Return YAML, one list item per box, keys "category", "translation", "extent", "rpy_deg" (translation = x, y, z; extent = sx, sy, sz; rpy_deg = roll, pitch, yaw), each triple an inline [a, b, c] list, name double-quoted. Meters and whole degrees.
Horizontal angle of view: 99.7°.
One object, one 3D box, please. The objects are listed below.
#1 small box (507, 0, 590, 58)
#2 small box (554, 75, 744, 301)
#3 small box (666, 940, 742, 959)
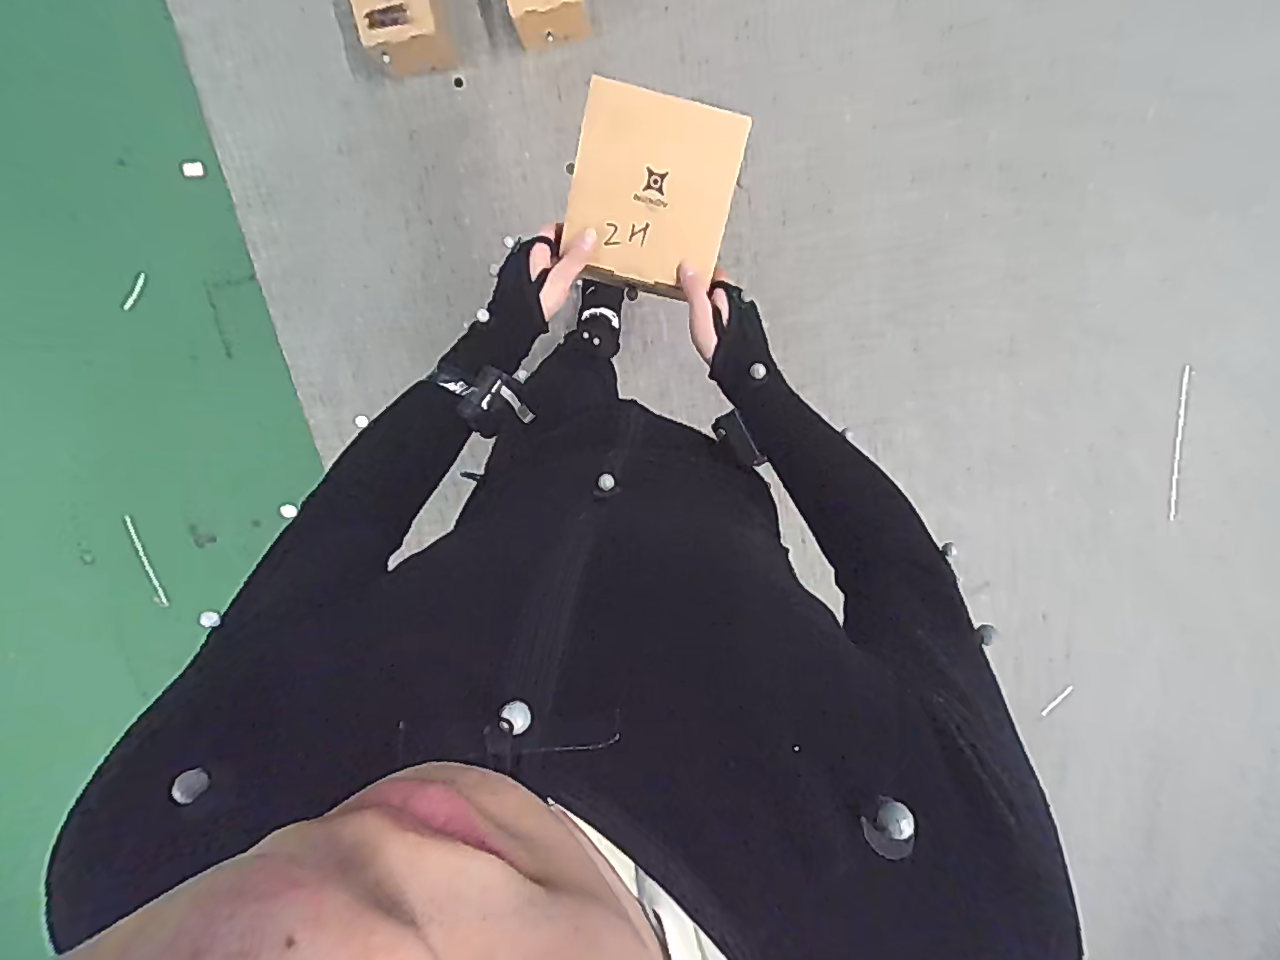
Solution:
- category: "small box"
  translation: [-0.213, -1.105, 1.219]
  extent: [0.168, 0.176, 0.179]
  rpy_deg: [-11, 107, 4]
- category: "small box"
  translation: [0.007, -0.321, 0.635]
  extent: [0.168, 0.176, 0.179]
  rpy_deg: [13, 105, -2]
- category: "small box"
  translation: [0.148, 1.104, 1.115]
  extent: [0.168, 0.176, 0.179]
  rpy_deg: [-10, 106, 3]
